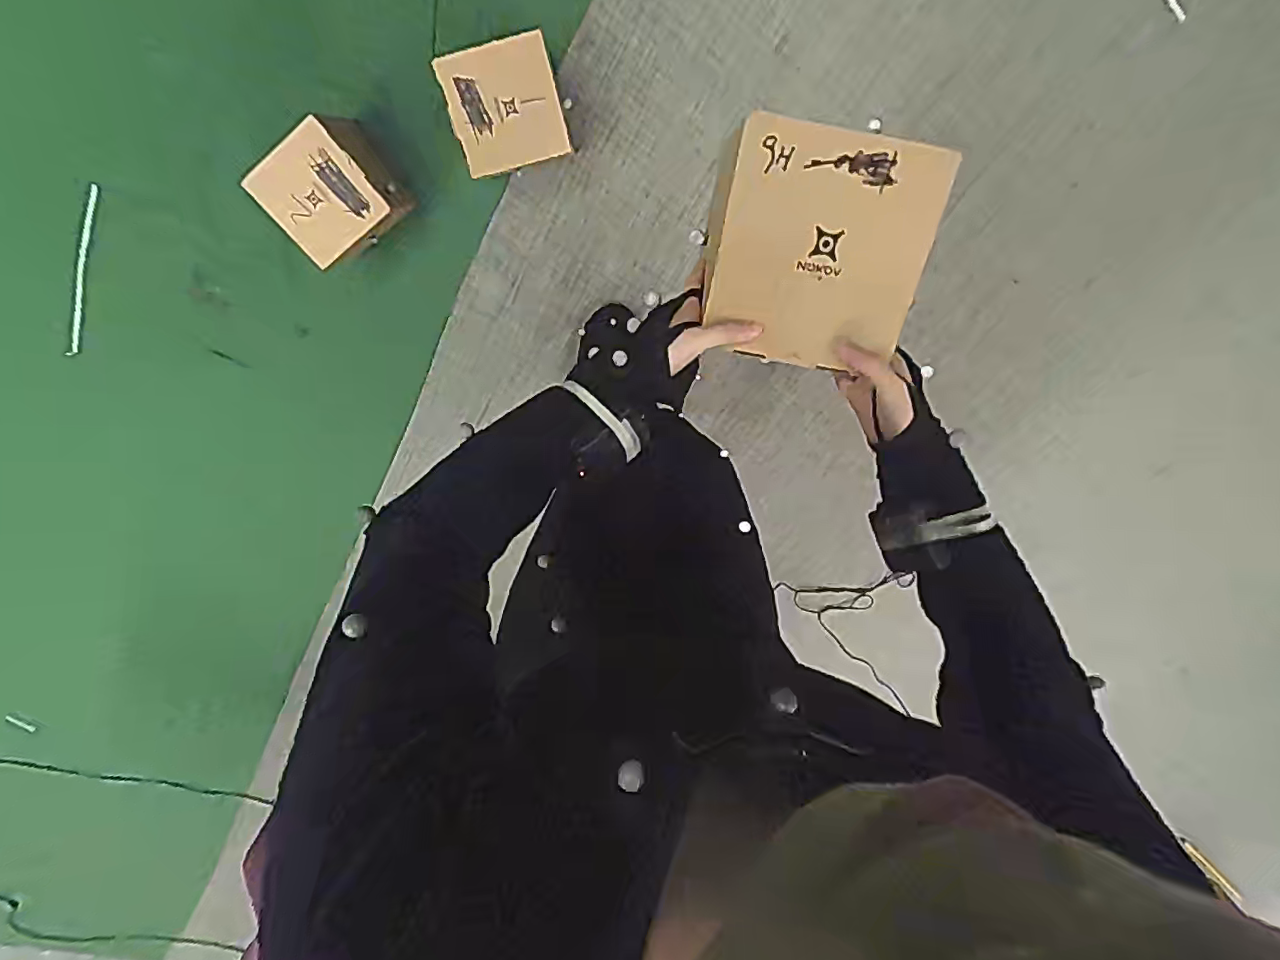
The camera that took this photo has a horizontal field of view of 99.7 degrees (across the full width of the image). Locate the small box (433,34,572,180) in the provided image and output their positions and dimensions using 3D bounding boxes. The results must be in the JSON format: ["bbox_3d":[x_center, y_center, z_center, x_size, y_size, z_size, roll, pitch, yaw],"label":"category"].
[{"bbox_3d":[-0.221,-0.625,0.927,0.179,0.176,0.168,-14,121,2],"label":"small box"}]

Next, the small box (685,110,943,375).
[{"bbox_3d":[0.138,-0.215,0.511,0.168,0.176,0.179,9,113,-3],"label":"small box"}]
